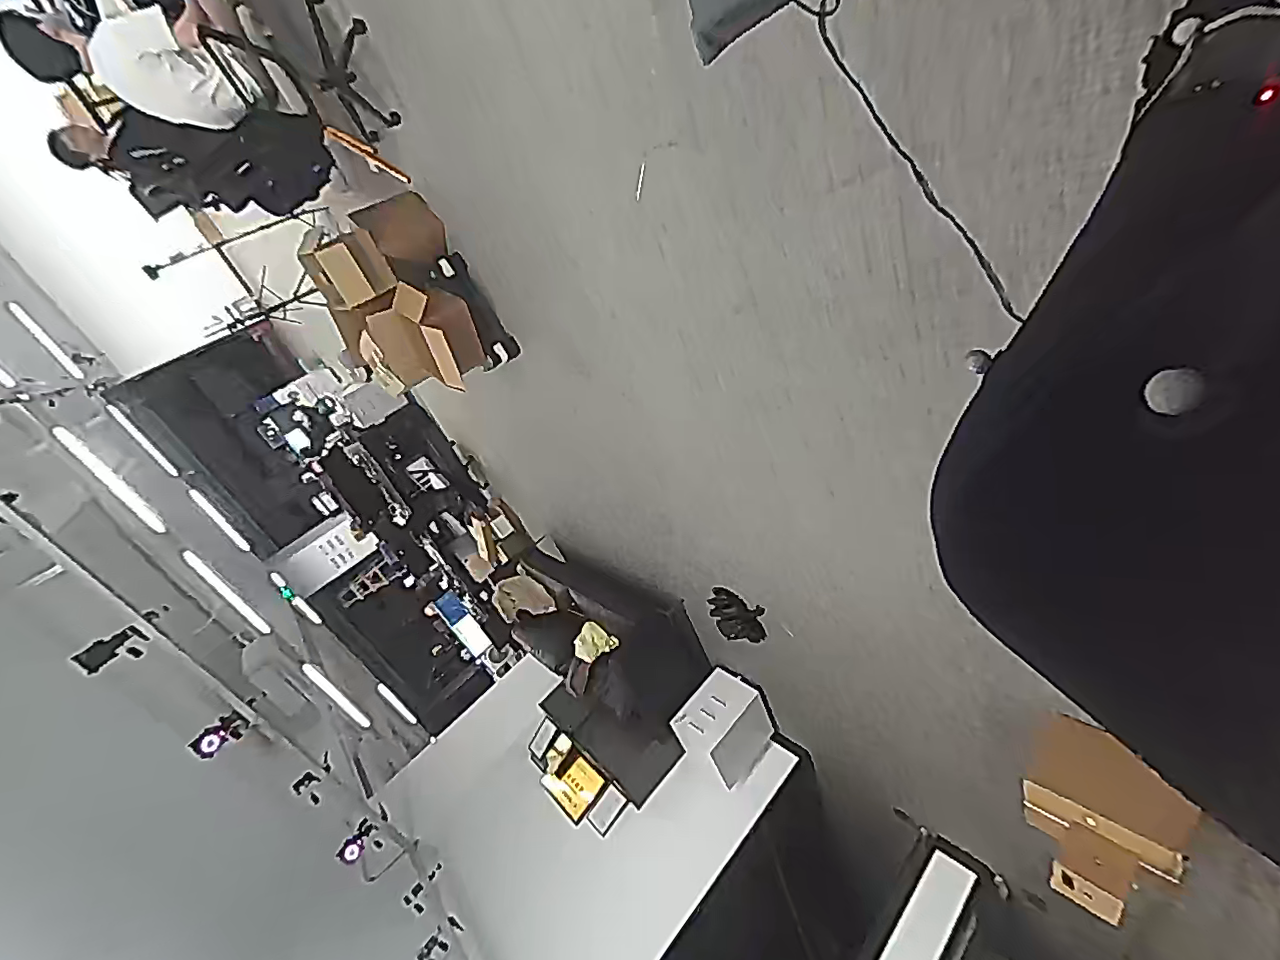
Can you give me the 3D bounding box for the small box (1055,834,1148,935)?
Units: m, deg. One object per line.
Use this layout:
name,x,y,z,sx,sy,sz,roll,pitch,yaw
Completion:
small box,1.461,1.268,1.714,0.179,0.176,0.168,20,137,46
